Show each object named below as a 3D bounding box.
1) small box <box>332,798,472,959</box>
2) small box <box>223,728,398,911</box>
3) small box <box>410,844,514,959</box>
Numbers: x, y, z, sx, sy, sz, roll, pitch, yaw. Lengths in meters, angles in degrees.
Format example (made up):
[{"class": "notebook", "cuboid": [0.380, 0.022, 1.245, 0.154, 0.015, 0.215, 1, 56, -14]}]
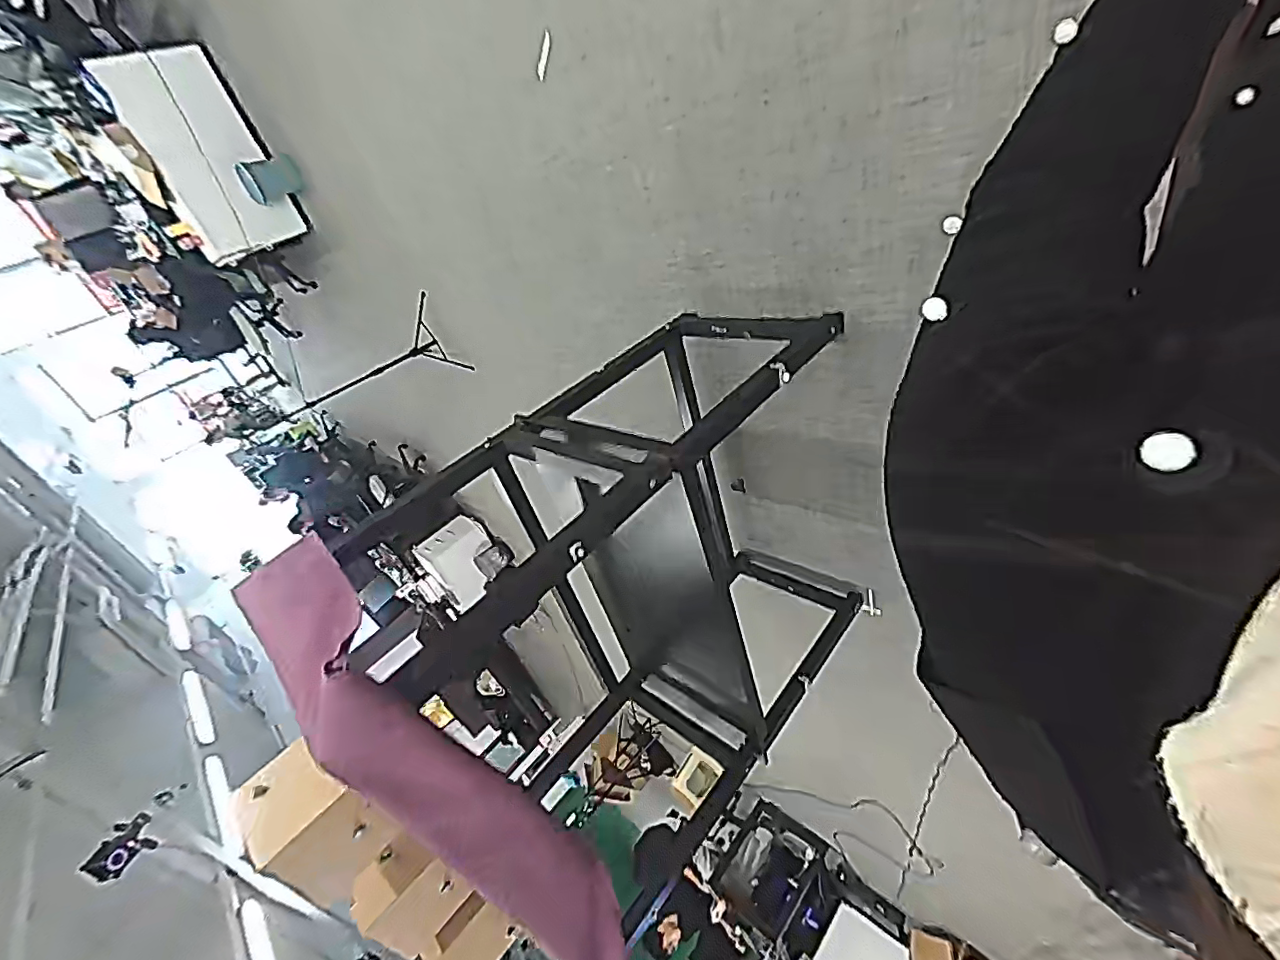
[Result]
[{"class": "small box", "cuboid": [-0.460, 0.762, 1.042, 0.168, 0.176, 0.179, 21, 139, 41]}, {"class": "small box", "cuboid": [-0.539, 0.548, 0.899, 0.179, 0.176, 0.168, 20, 140, 41]}, {"class": "small box", "cuboid": [-0.398, 0.947, 1.171, 0.179, 0.176, 0.168, 15, 135, 46]}]
